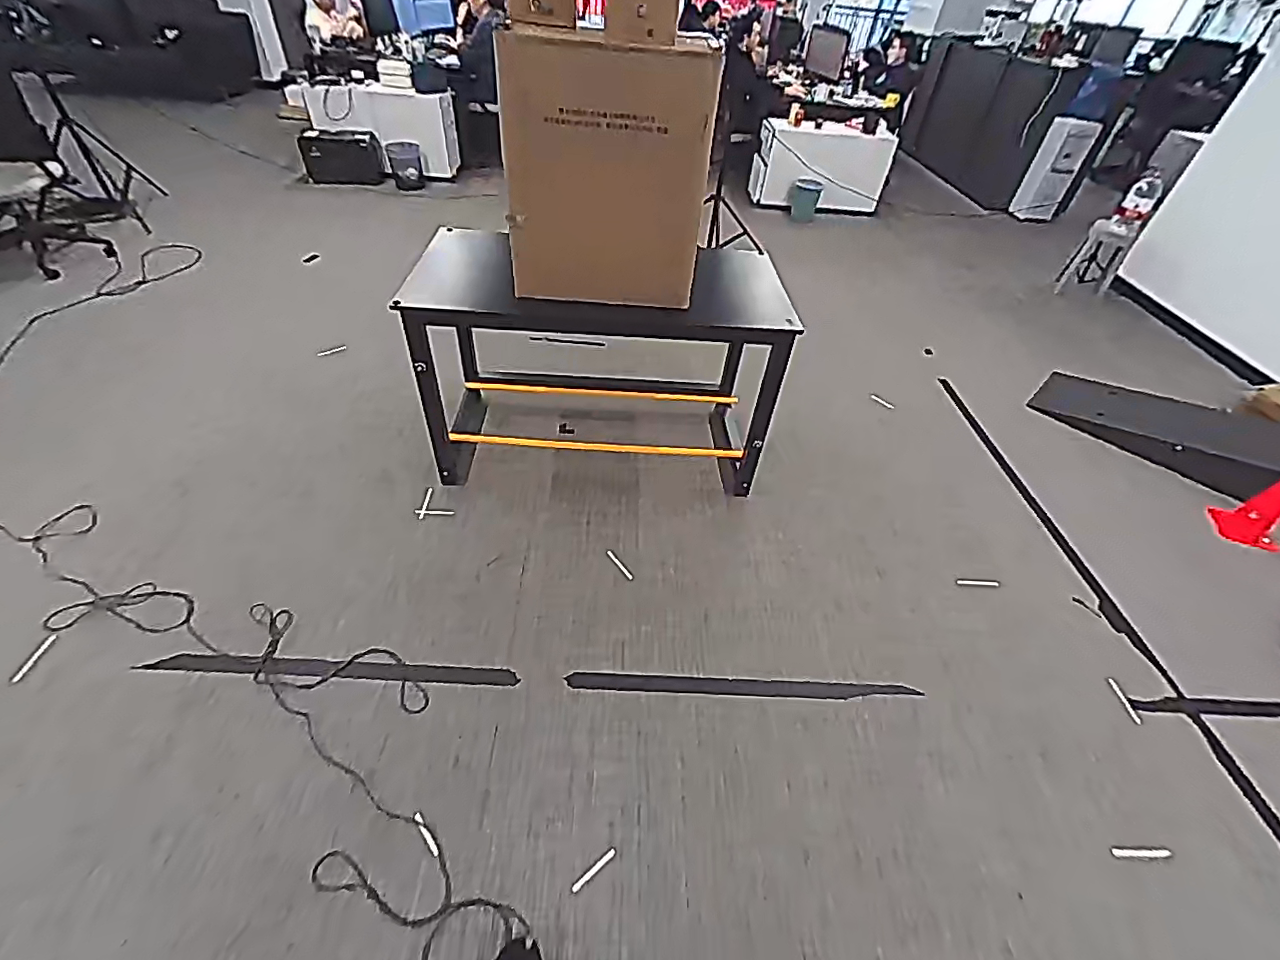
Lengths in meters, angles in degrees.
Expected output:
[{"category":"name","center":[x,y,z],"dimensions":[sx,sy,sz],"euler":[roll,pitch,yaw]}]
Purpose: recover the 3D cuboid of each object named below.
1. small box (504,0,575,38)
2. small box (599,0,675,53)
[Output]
[{"category":"small box","center":[-0.242,-1.196,1.311],"dimensions":[0.168,0.176,0.179],"euler":[-1,44,-6]},{"category":"small box","center":[-0.008,-1.095,1.231],"dimensions":[0.168,0.176,0.179],"euler":[0,45,-4]}]
